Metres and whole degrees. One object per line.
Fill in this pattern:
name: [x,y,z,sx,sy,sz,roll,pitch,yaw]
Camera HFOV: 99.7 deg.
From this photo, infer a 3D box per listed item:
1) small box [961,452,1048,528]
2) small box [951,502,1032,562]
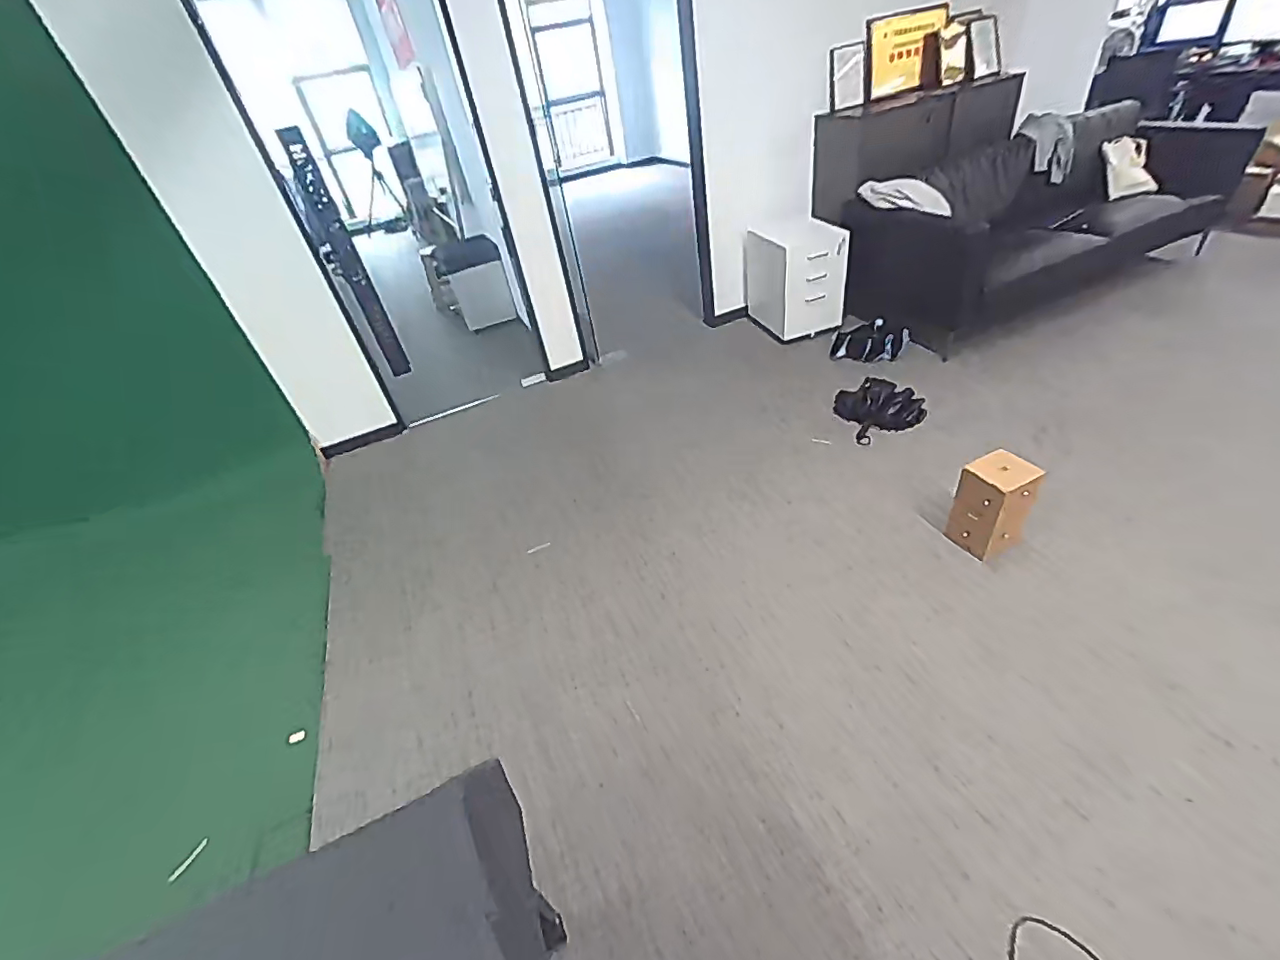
small box: [1.222,0.037,1.830,0.179,0.176,0.168,-21,40,-15]
small box: [1.245,0.163,1.930,0.179,0.176,0.168,-23,39,-14]
